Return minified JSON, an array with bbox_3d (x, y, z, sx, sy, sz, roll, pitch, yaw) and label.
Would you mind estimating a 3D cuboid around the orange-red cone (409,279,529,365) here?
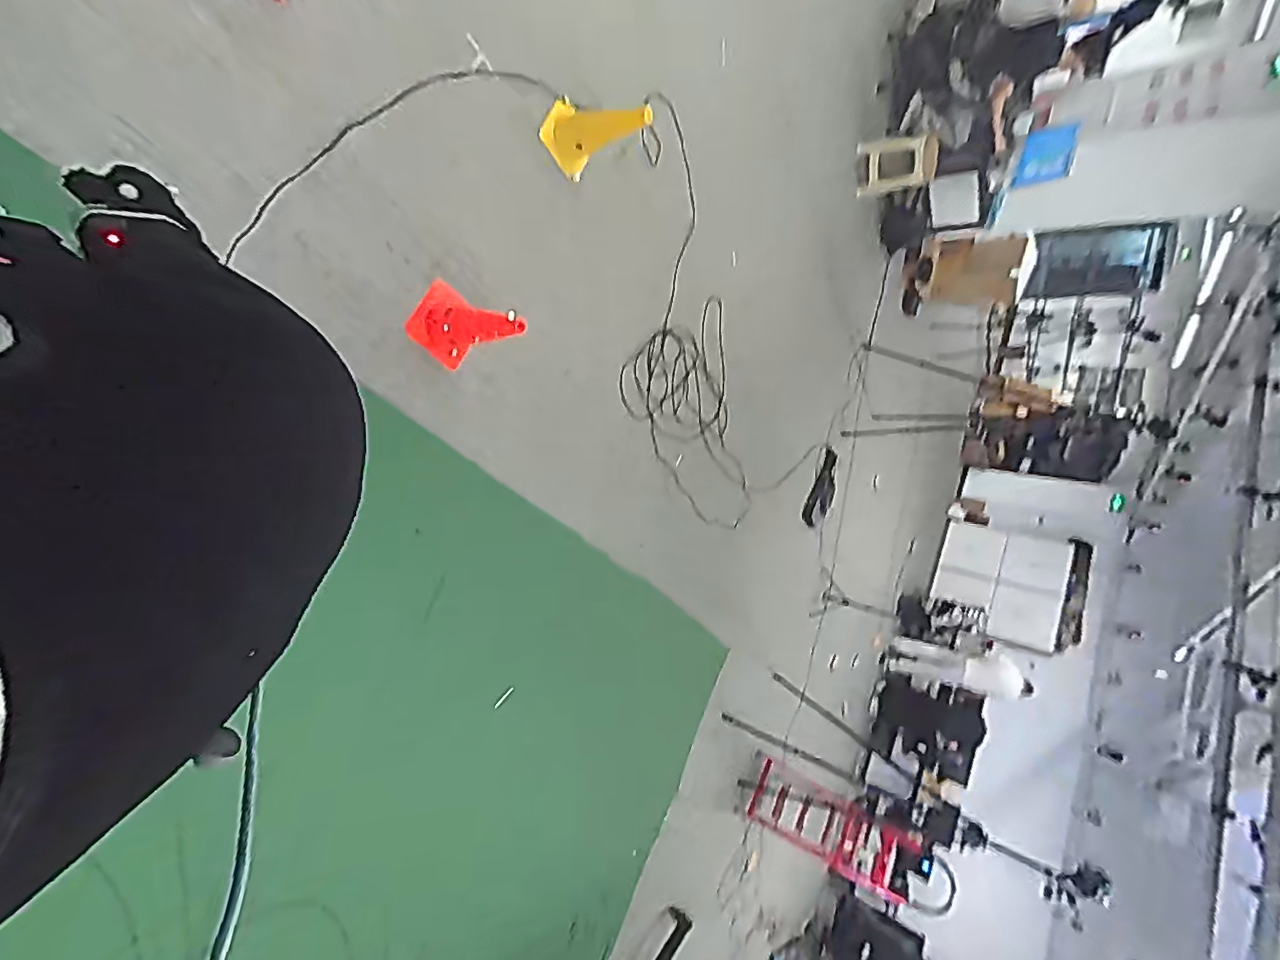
[{"bbox_3d":[-0.444,-0.444,1.523,0.198,0.360,0.199,45,64,-49],"label":"orange-red cone"}]
